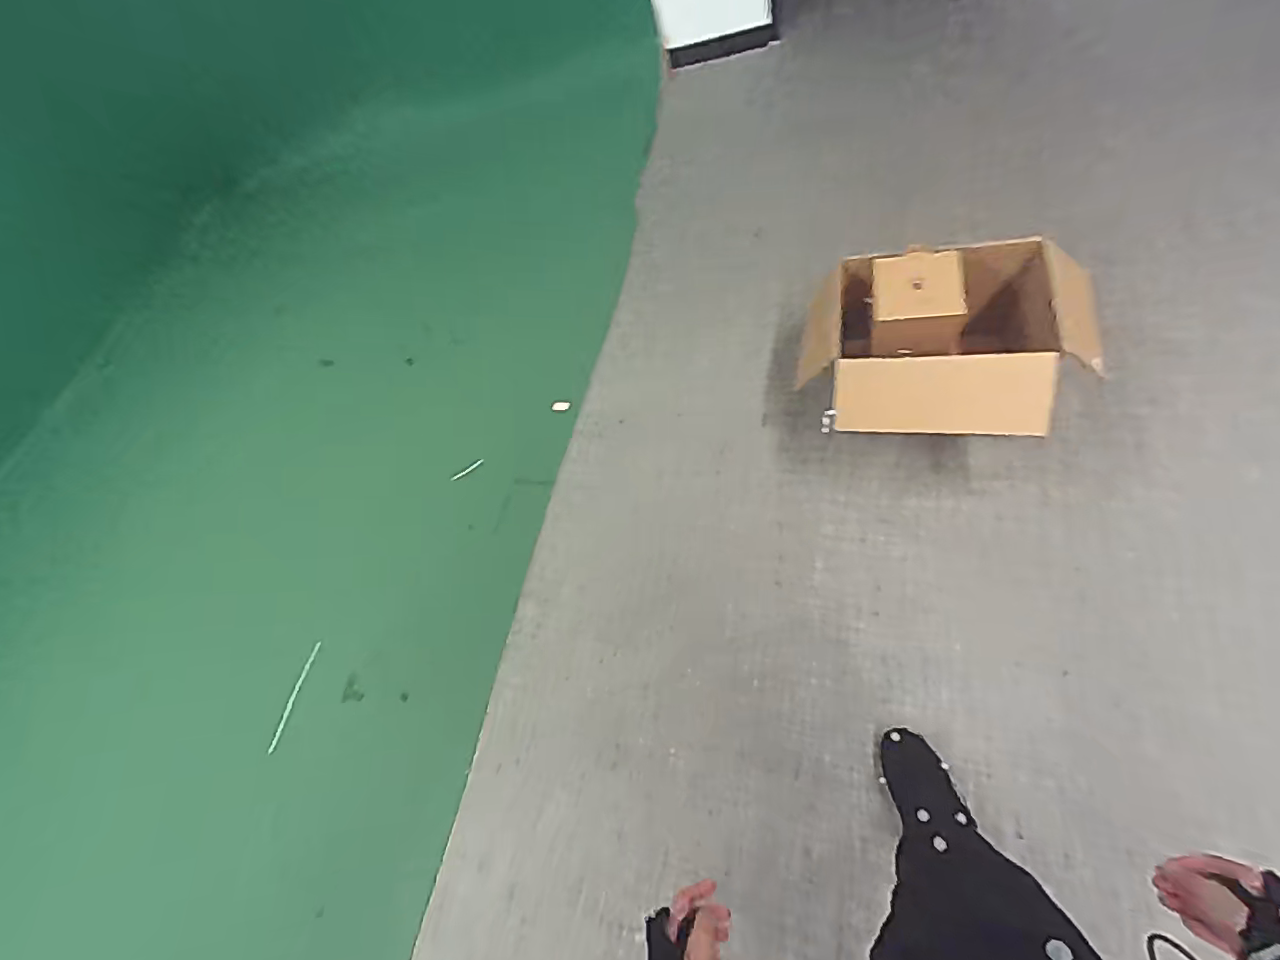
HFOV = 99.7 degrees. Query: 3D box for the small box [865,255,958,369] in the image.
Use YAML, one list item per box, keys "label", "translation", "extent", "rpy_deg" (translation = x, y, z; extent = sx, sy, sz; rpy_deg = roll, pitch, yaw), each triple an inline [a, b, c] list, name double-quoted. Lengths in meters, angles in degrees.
- label: "small box"
  translation: [0.601, -0.372, 1.217]
  extent: [0.168, 0.176, 0.179]
  rpy_deg: [1, 66, 19]
